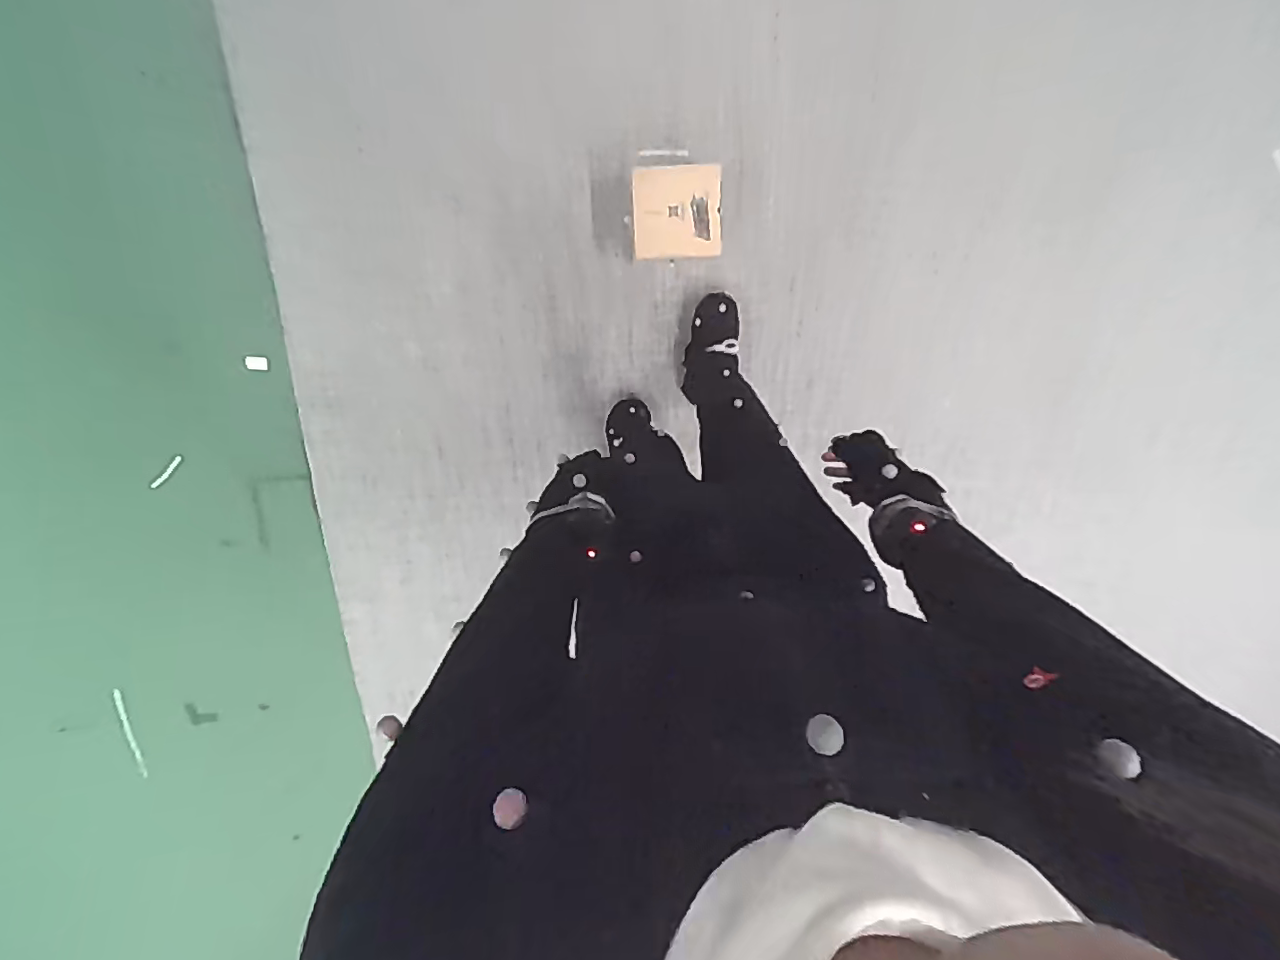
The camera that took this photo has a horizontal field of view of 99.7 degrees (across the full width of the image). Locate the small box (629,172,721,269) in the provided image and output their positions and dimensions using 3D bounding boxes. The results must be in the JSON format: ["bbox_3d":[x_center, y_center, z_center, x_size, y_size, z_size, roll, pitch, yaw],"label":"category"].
[{"bbox_3d":[0.069,-0.542,1.145,0.179,0.176,0.168,-3,107,-1],"label":"small box"}]
